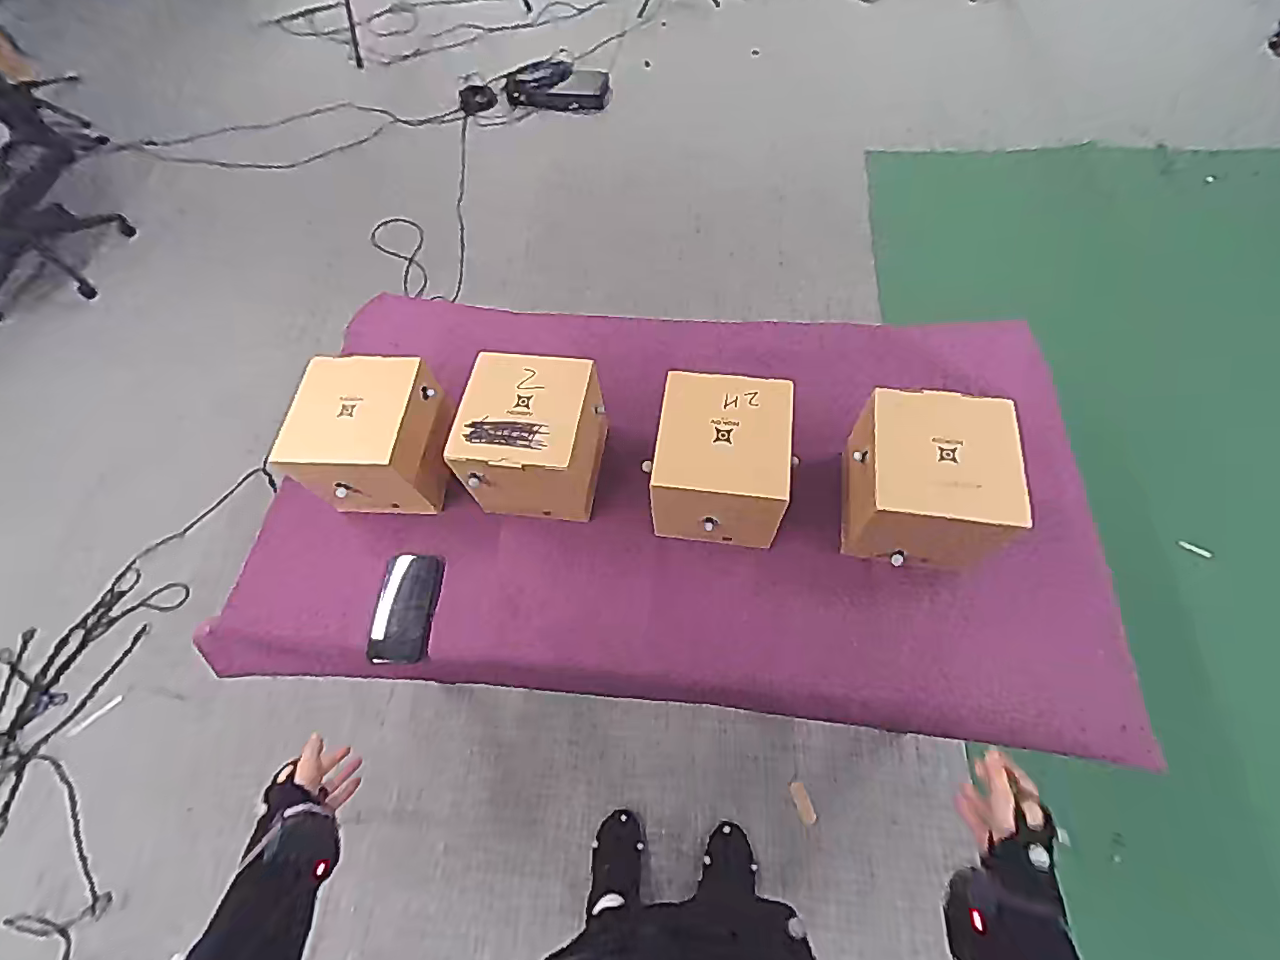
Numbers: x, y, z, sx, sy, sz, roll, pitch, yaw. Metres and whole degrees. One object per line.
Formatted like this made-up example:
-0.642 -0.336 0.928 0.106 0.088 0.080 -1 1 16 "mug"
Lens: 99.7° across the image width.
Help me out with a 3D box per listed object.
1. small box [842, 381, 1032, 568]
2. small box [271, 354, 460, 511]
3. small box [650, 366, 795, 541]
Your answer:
0.368 -0.003 0.707 0.168 0.176 0.179 7 64 9 "small box"
-0.385 -0.064 0.798 0.168 0.176 0.179 1 62 5 "small box"
0.111 -0.029 0.739 0.168 0.176 0.179 7 63 7 "small box"
